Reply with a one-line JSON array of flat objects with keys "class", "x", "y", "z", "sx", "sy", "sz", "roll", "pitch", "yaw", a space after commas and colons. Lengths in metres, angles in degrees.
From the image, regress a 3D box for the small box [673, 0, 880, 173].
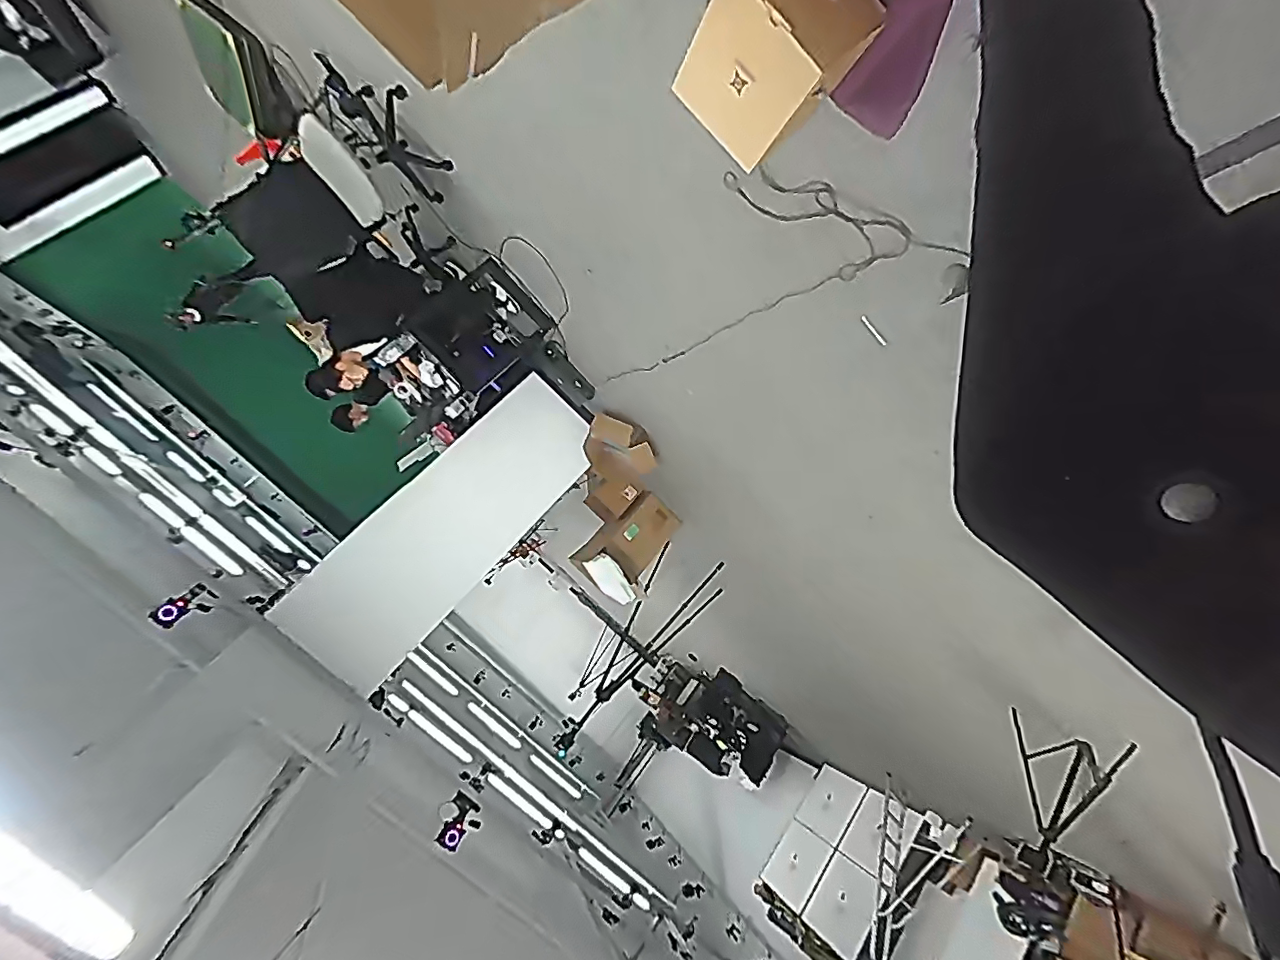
[{"class": "small box", "x": 0.180, "y": -0.573, "z": 0.730, "sx": 0.168, "sy": 0.176, "sz": 0.179, "roll": 44, "pitch": 159, "yaw": -6}]
